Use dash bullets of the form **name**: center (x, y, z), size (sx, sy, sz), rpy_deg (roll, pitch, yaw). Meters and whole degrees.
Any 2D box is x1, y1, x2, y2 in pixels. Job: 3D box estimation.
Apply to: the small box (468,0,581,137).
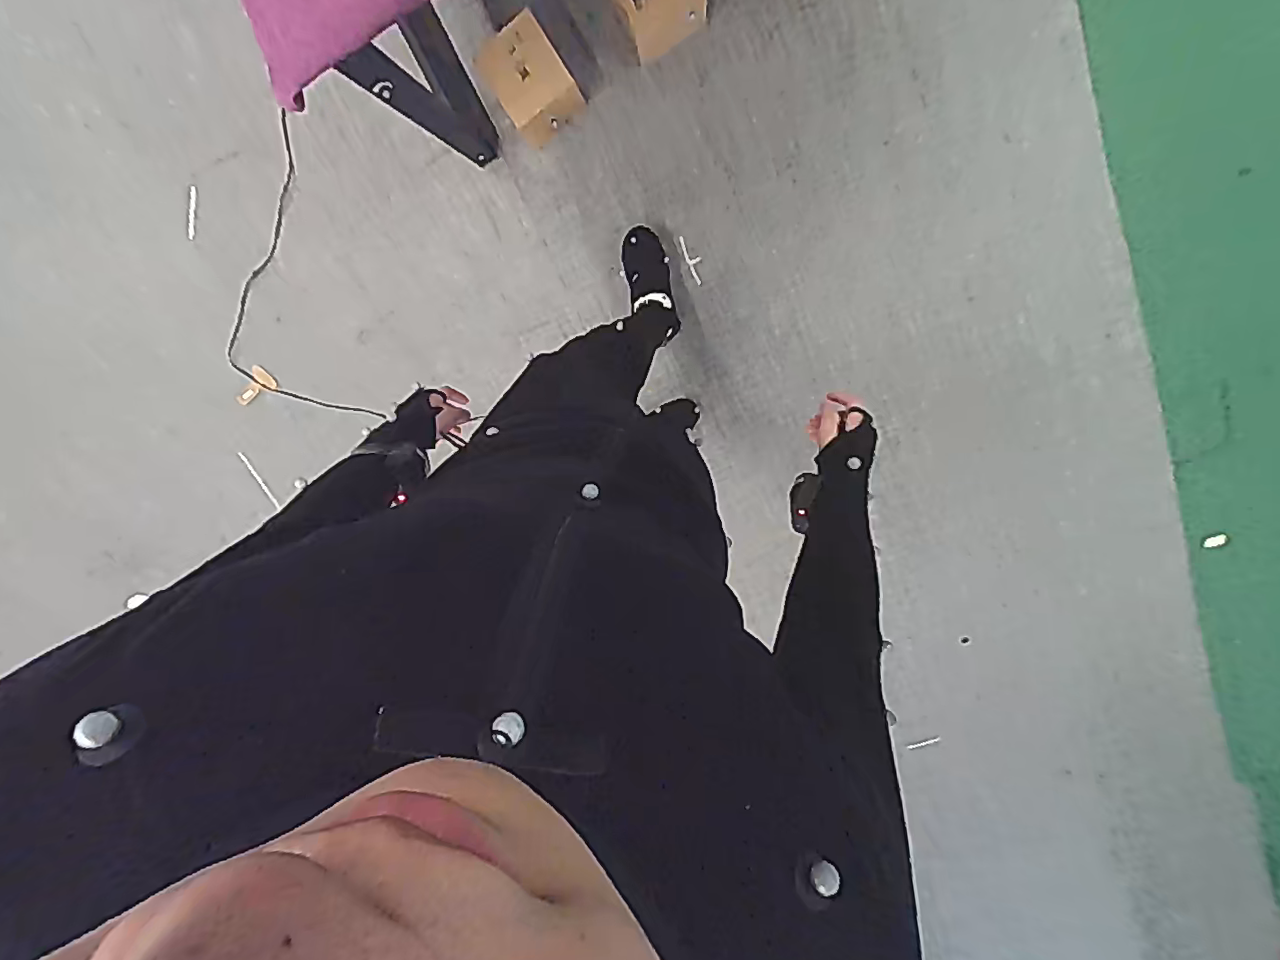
- **small box**: center (-0.259, -0.940, 1.262), size (0.168, 0.176, 0.179), rpy_deg (-32, 103, 14)
